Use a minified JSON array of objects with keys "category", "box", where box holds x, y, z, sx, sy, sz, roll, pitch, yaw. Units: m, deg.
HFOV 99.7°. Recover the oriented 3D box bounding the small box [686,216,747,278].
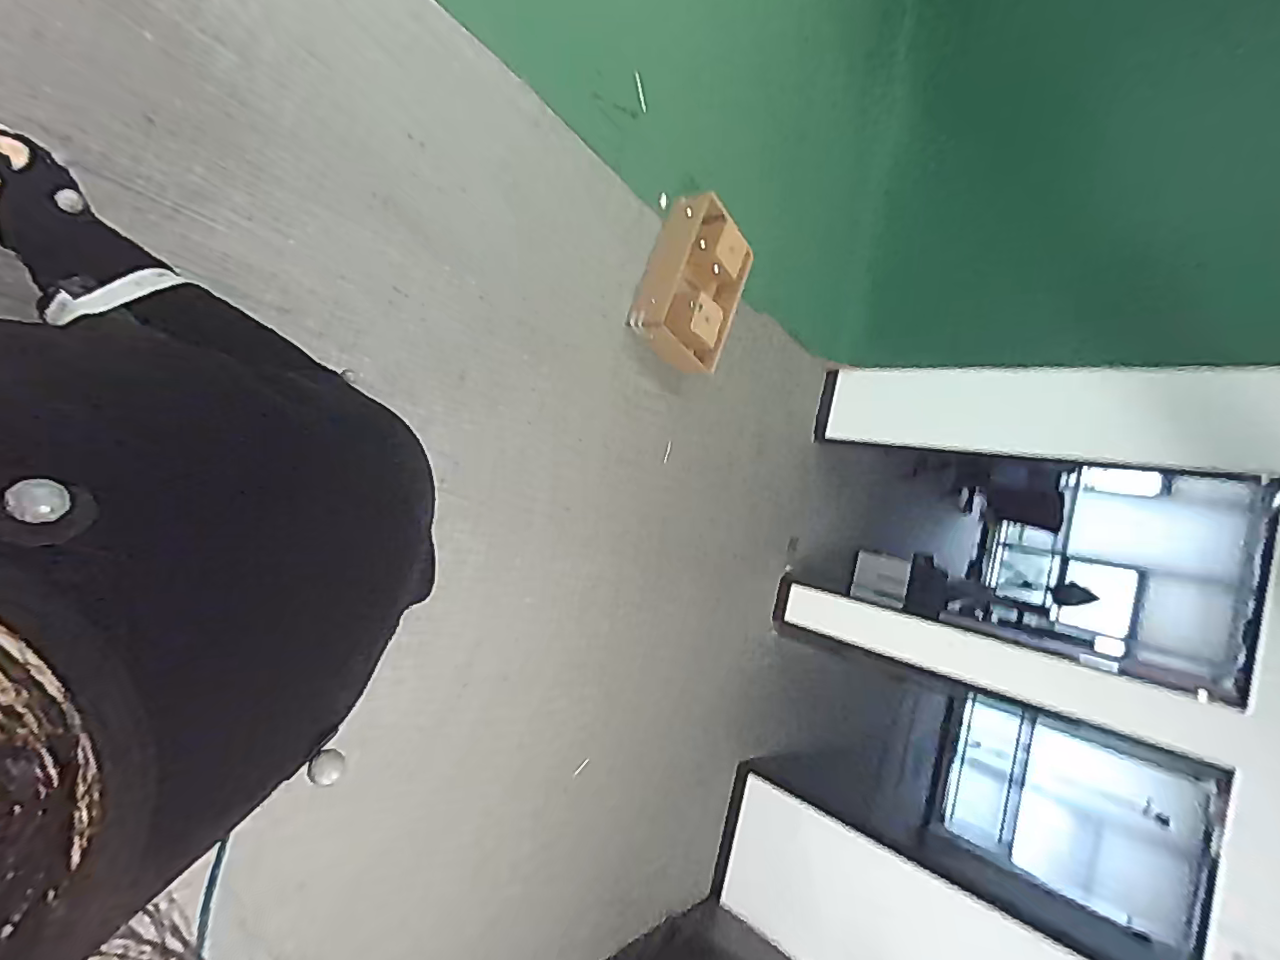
[{"category":"small box","box":[0.321,-0.975,2.286,0.179,0.176,0.168,33,75,-47]}]
